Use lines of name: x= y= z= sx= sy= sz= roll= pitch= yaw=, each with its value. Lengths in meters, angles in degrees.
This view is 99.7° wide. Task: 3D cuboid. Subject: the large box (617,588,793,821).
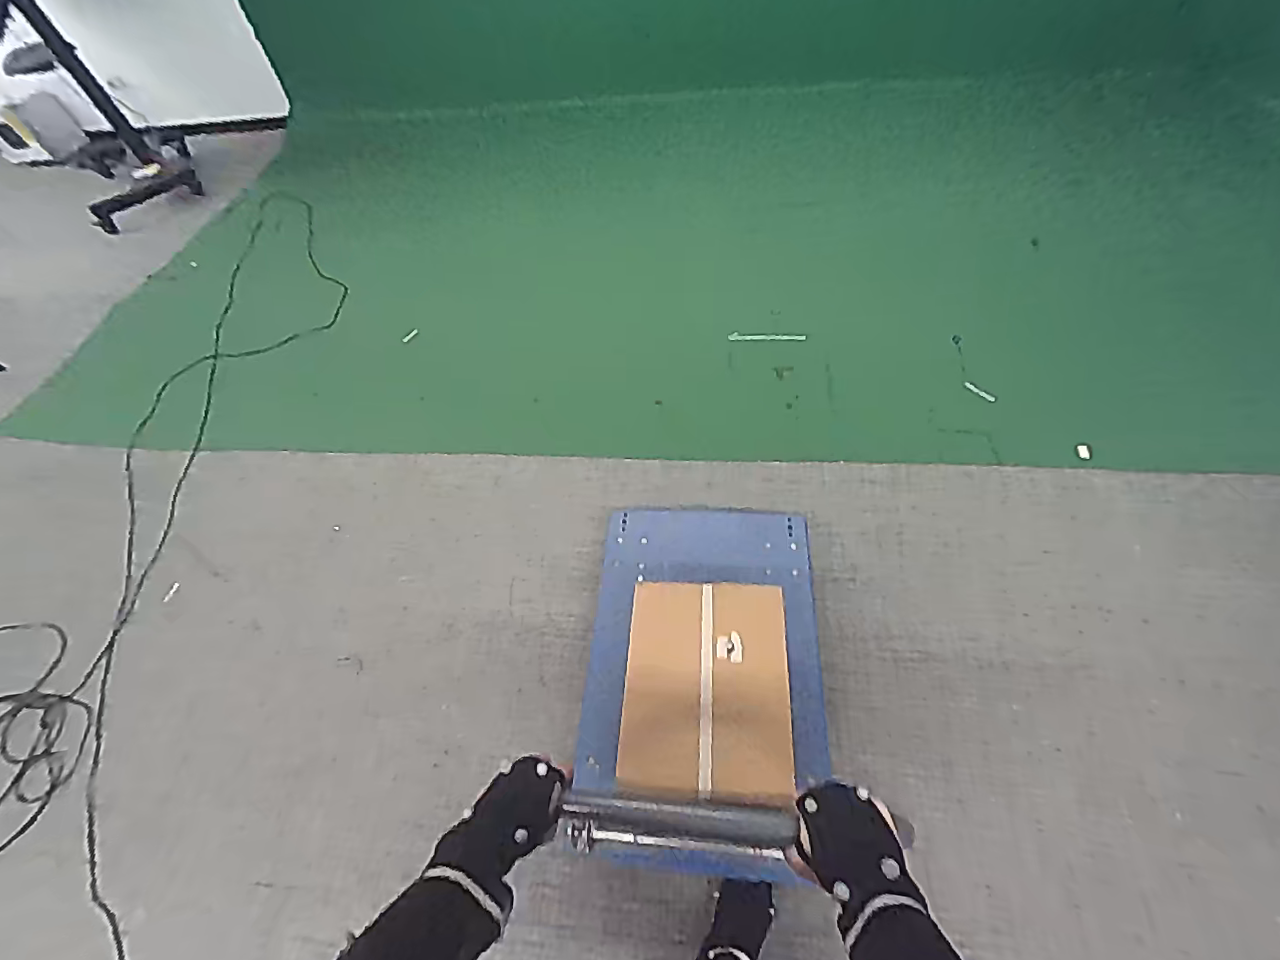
large box: x=0.141 y=0.485 z=1.172 sx=0.320 sy=0.320 sz=0.408 roll=1 pitch=54 yaw=8
